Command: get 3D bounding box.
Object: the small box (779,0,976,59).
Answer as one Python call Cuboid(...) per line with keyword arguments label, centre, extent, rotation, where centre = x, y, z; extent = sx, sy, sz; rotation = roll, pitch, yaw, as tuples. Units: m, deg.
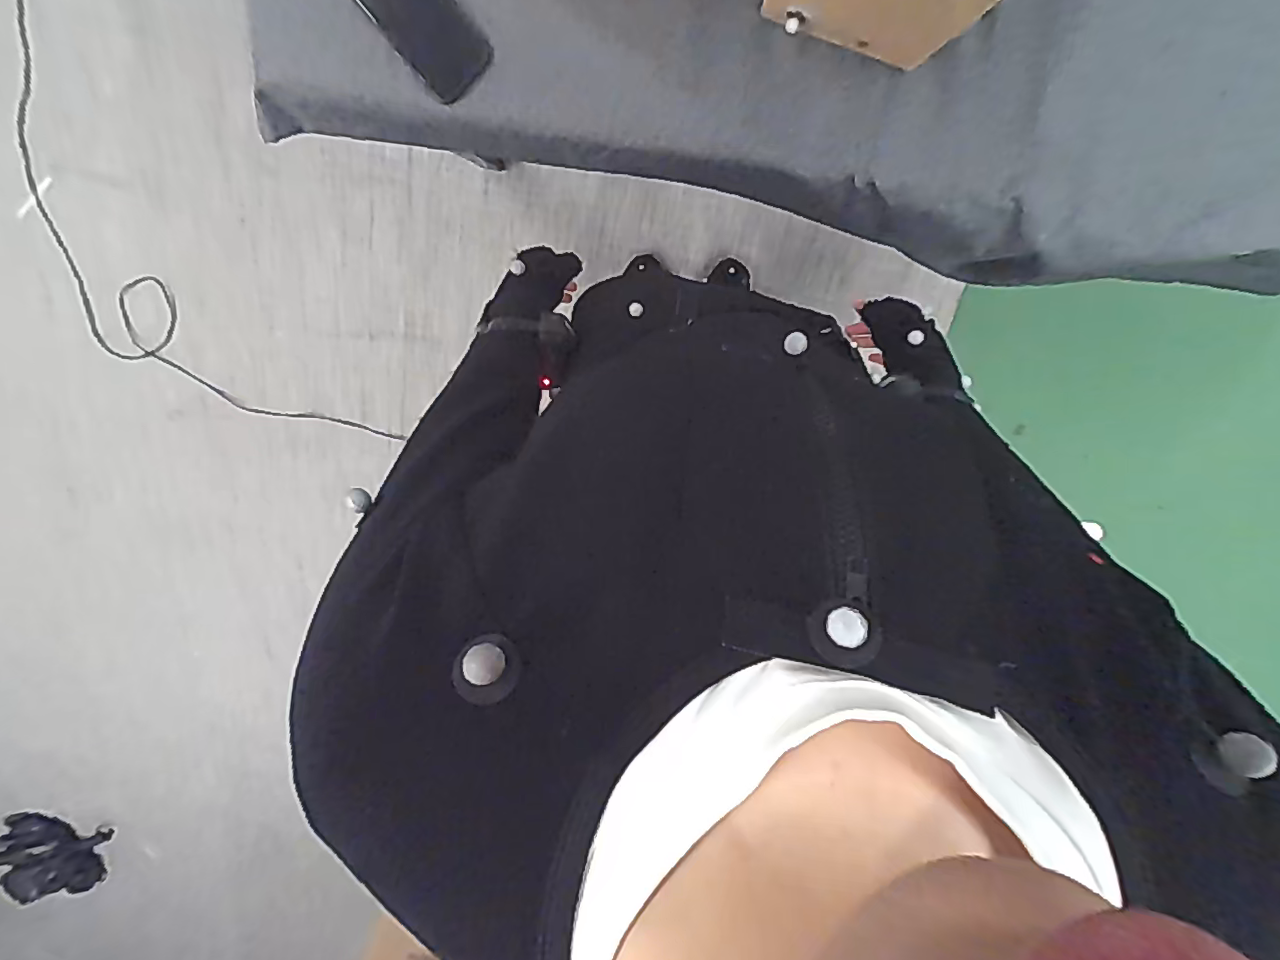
Cuboid(label="small box", centre=(0.220, -0.487, 0.437), extent=(0.168, 0.176, 0.179), rotation=(16, 111, -4))
